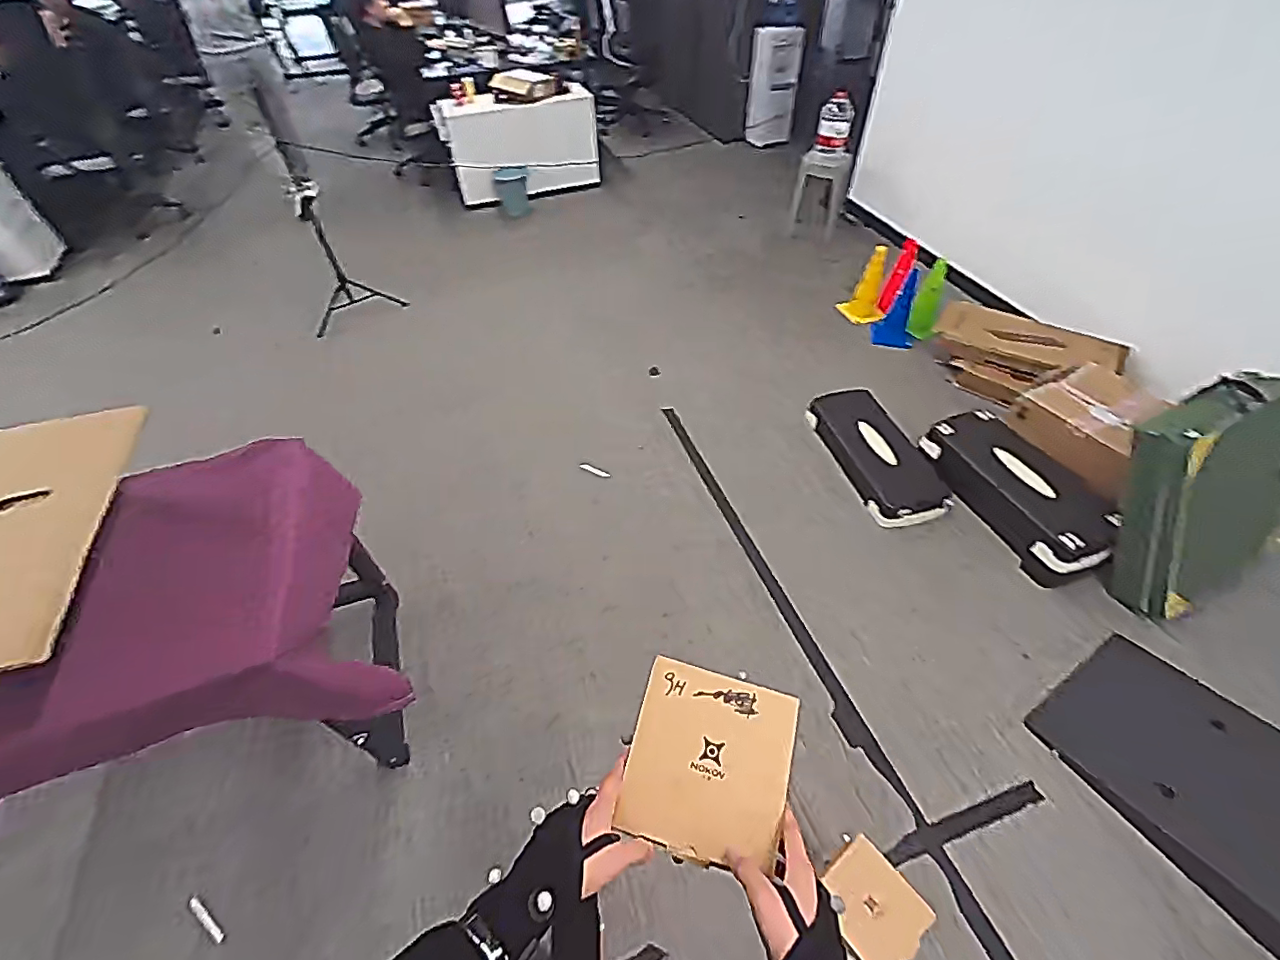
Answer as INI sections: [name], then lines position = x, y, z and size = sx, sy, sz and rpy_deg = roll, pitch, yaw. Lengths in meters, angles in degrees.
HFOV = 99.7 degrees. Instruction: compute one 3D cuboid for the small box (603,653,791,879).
[small box]
position = 0.065, 0.327, 0.638
size = 0.168, 0.176, 0.179
rpy_deg = 15, 63, 8
